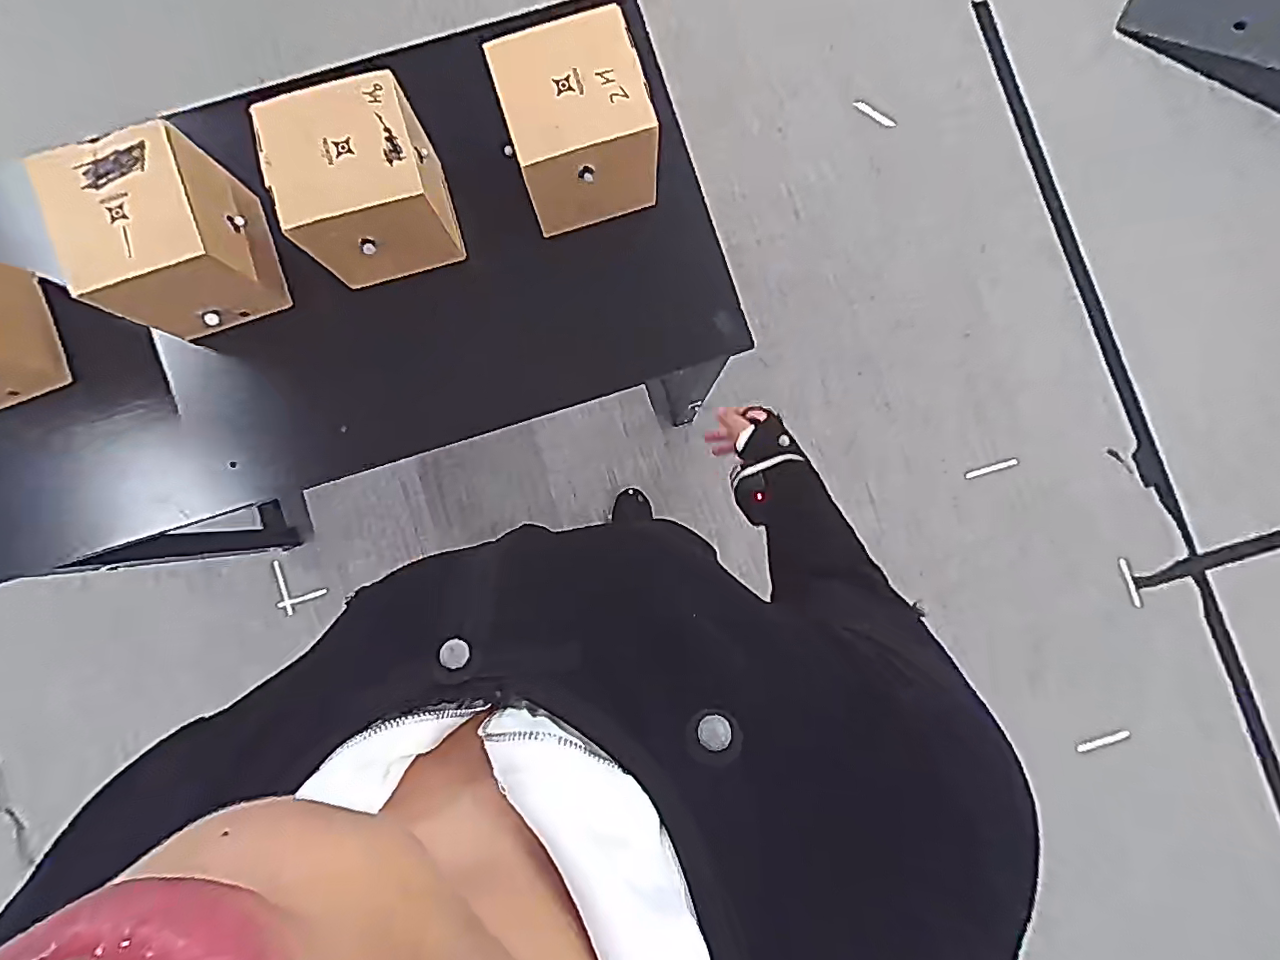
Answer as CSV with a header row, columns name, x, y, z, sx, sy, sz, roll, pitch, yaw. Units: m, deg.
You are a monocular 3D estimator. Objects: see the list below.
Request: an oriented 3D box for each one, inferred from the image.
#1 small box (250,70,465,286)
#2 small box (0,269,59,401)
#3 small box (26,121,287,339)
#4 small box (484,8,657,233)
name,x,y,z,sx,sy,sz,roll,pitch,yaw
small box,-0.358,-0.382,0.715,0.179,0.176,0.168,-16,87,-1
small box,-0.920,-0.194,0.691,0.168,0.176,0.179,-22,86,-4
small box,-0.608,-0.311,0.705,0.168,0.176,0.179,-19,88,-2
small box,-0.083,-0.462,0.723,0.179,0.176,0.168,-17,87,-2
